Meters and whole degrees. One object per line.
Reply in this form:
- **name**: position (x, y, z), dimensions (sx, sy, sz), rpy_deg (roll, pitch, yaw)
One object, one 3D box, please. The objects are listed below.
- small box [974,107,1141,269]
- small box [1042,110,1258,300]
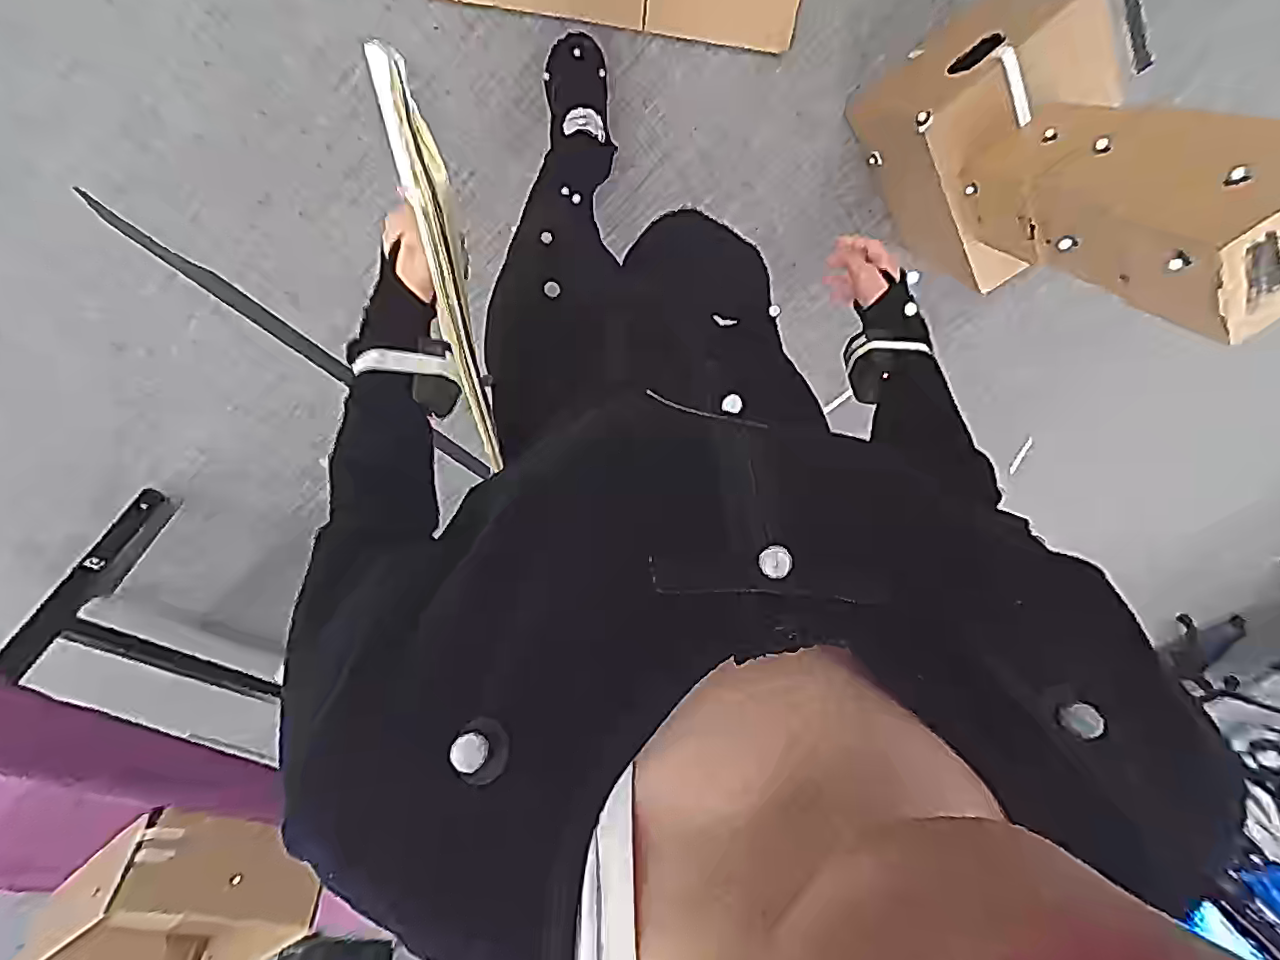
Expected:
- **small box**: position (0.715, -0.507, 0.938), dimensions (0.179, 0.176, 0.168), rpy_deg (-33, 126, 16)
- **small box**: position (0.744, -0.411, 0.807), dimensions (0.179, 0.176, 0.168), rpy_deg (-35, 126, 19)
